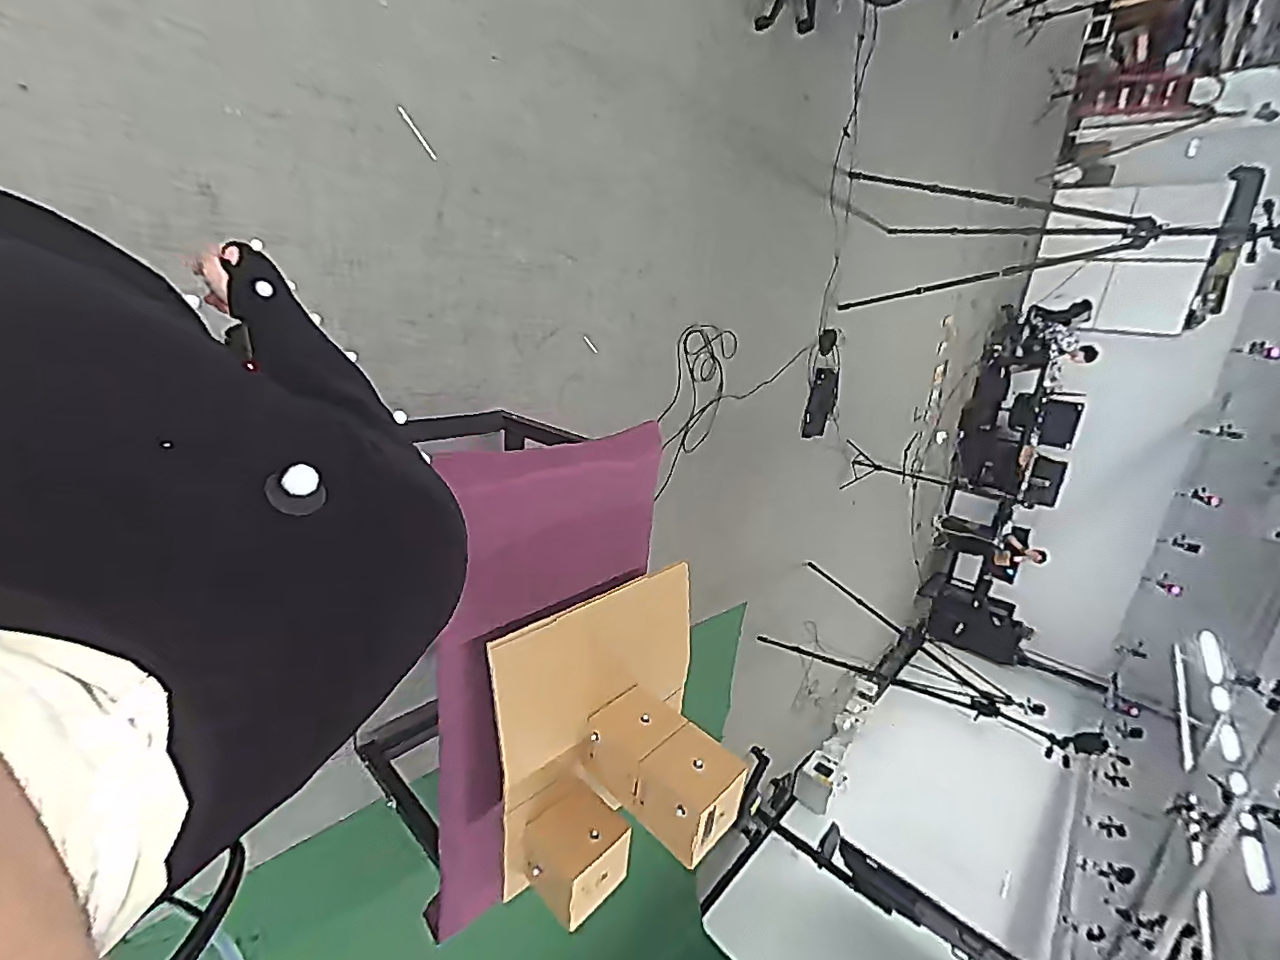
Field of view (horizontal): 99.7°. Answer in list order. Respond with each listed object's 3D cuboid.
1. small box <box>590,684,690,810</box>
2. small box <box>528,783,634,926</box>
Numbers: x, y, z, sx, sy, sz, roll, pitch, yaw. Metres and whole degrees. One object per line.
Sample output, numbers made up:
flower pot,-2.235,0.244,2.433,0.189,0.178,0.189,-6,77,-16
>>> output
small box,-0.004,0.632,1.303,0.179,0.176,0.168,-17,121,-45
small box,-0.138,0.852,1.253,0.179,0.176,0.168,-16,118,-45
